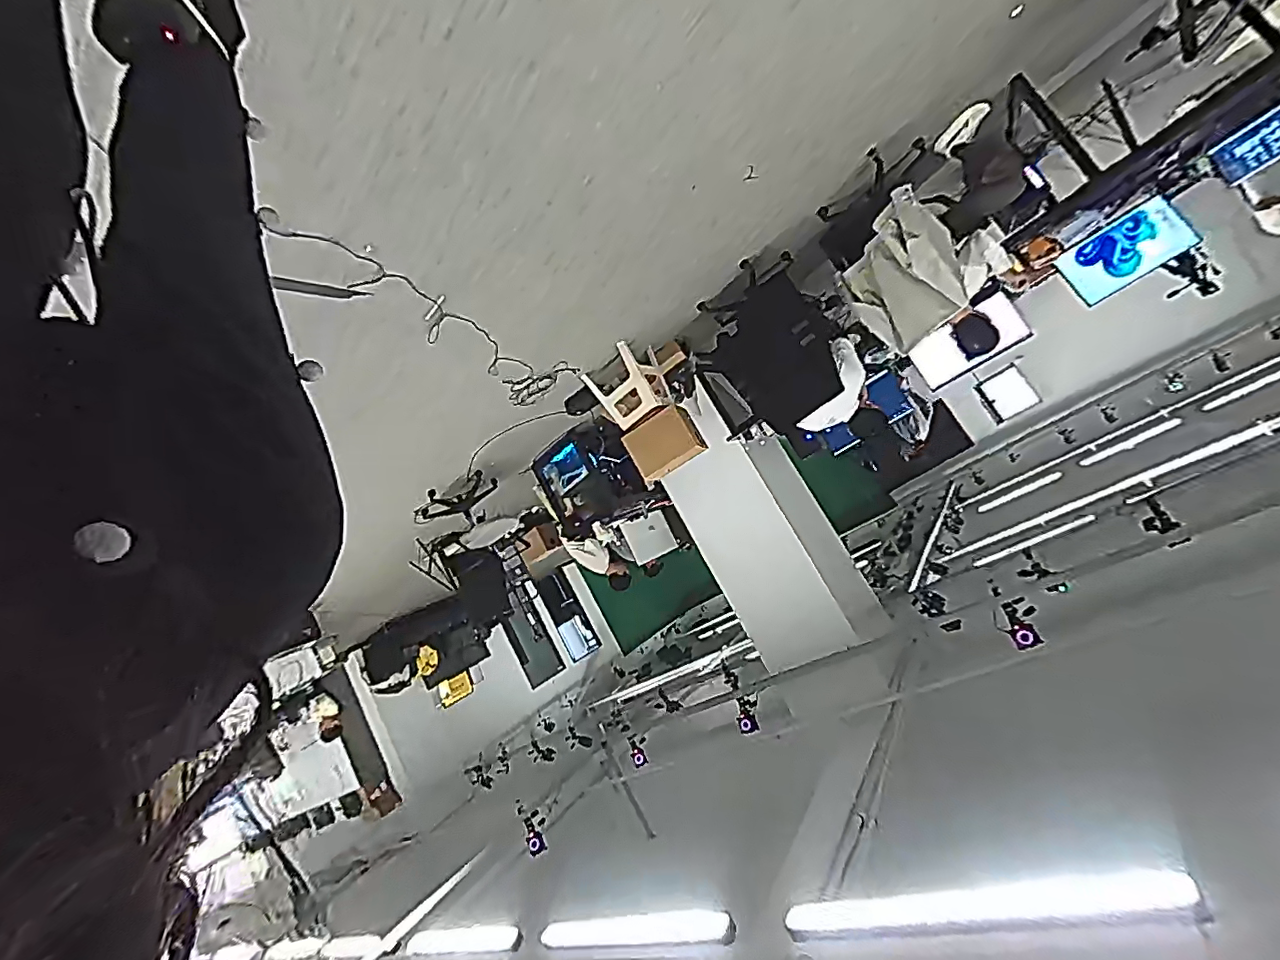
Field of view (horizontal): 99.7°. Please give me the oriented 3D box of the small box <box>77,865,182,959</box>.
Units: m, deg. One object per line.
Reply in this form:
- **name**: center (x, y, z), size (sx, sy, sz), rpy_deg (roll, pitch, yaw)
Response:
- **small box**: center (-1.471, 1.257, 1.554), size (0.168, 0.176, 0.179), rpy_deg (-35, 169, 33)
